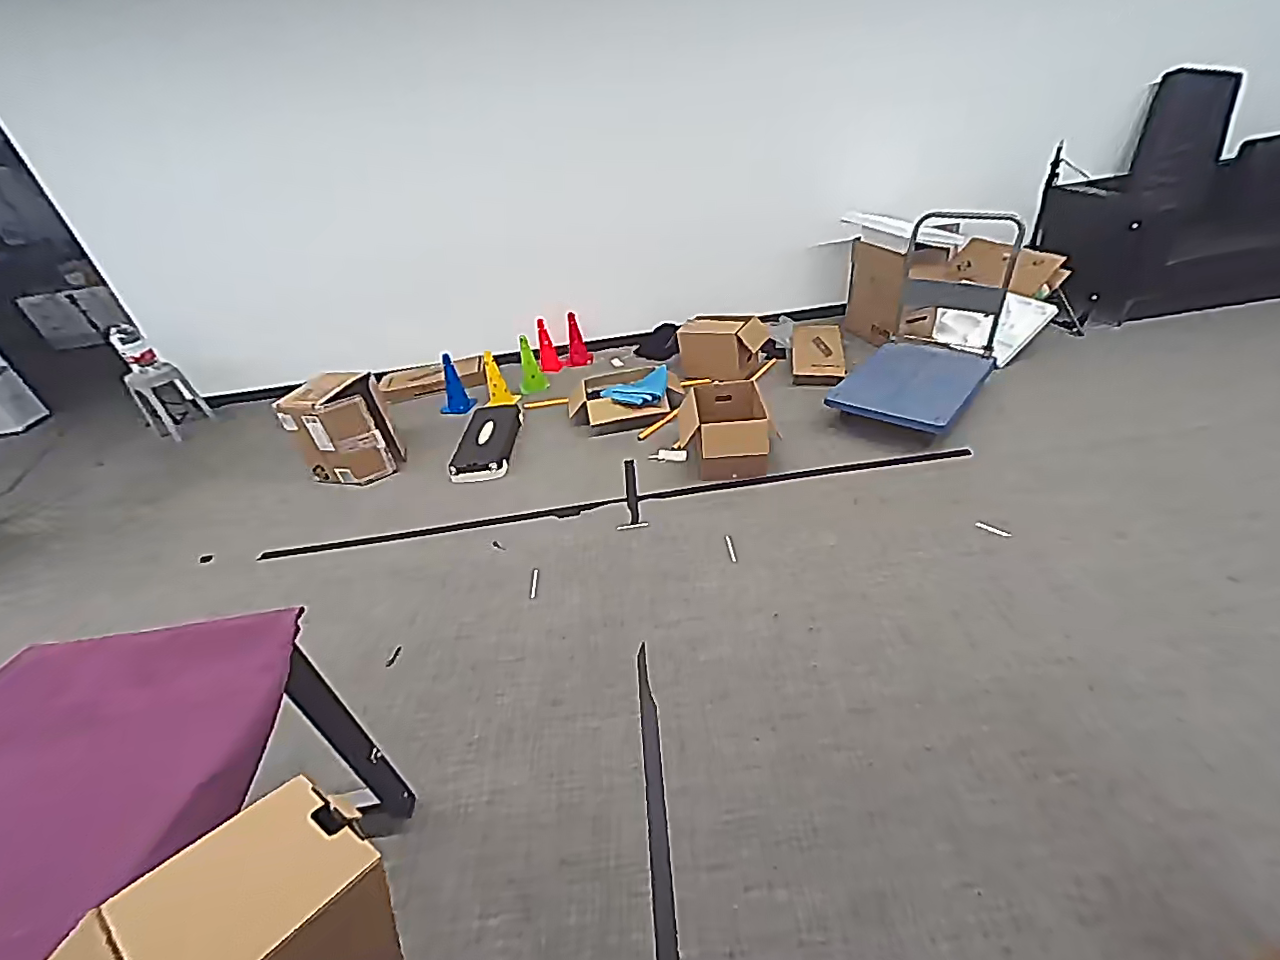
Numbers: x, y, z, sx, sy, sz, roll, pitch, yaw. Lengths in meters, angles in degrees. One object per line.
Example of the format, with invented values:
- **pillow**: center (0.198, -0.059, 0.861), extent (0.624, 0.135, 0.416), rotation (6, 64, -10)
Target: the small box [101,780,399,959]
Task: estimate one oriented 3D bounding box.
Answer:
- **small box**: center (-0.365, 0.453, 0.528), extent (0.168, 0.176, 0.179), rotation (14, 23, 32)
